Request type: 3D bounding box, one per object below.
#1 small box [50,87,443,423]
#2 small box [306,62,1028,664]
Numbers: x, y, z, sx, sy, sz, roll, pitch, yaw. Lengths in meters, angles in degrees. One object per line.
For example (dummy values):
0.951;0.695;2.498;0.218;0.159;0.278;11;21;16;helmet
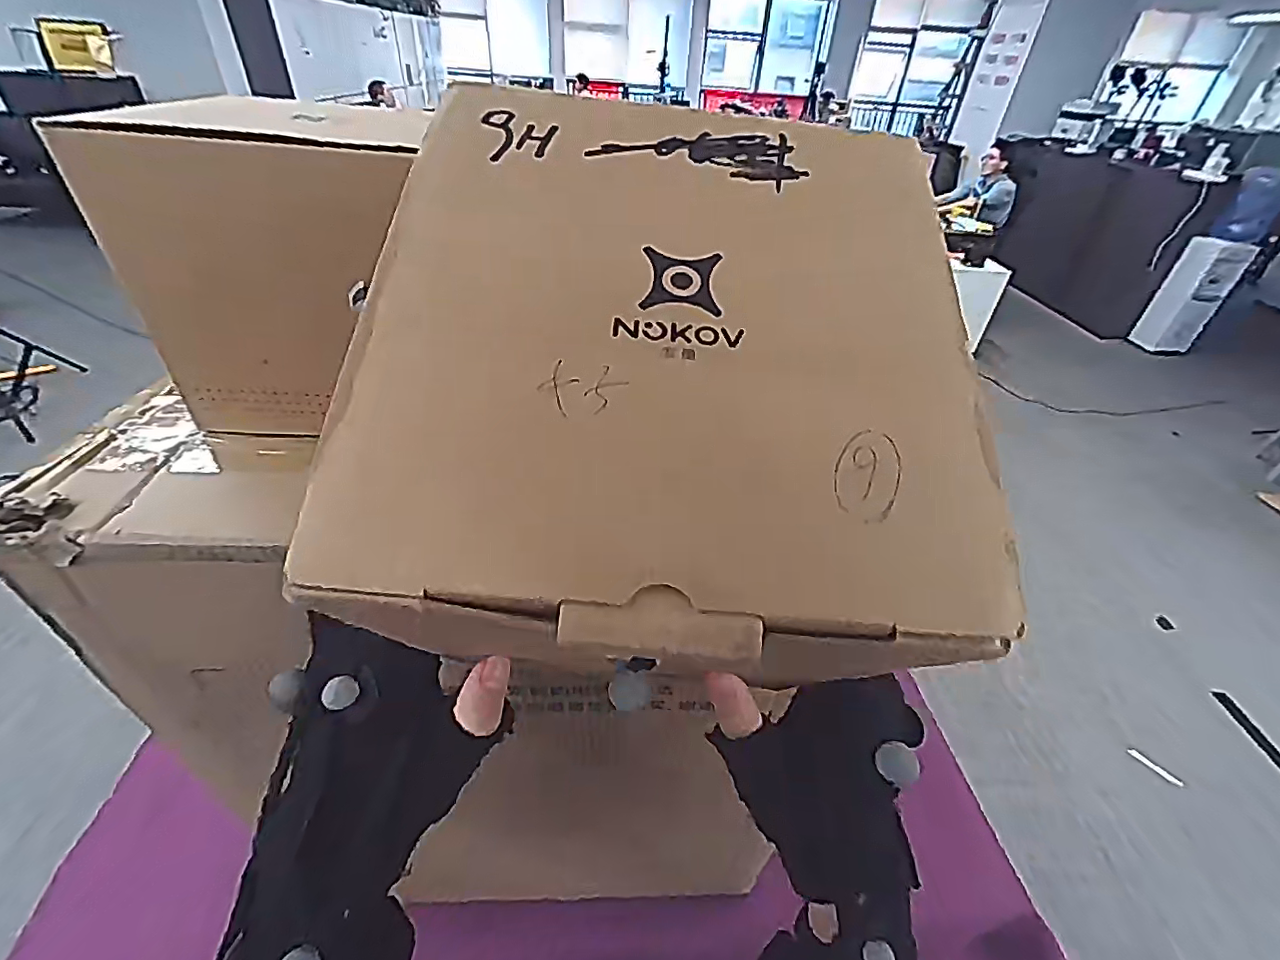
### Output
-0.185;-0.145;0.357;0.179;0.176;0.168;1;38;-4;small box
0.008;-0.023;0.225;0.168;0.176;0.179;5;66;-2;small box
